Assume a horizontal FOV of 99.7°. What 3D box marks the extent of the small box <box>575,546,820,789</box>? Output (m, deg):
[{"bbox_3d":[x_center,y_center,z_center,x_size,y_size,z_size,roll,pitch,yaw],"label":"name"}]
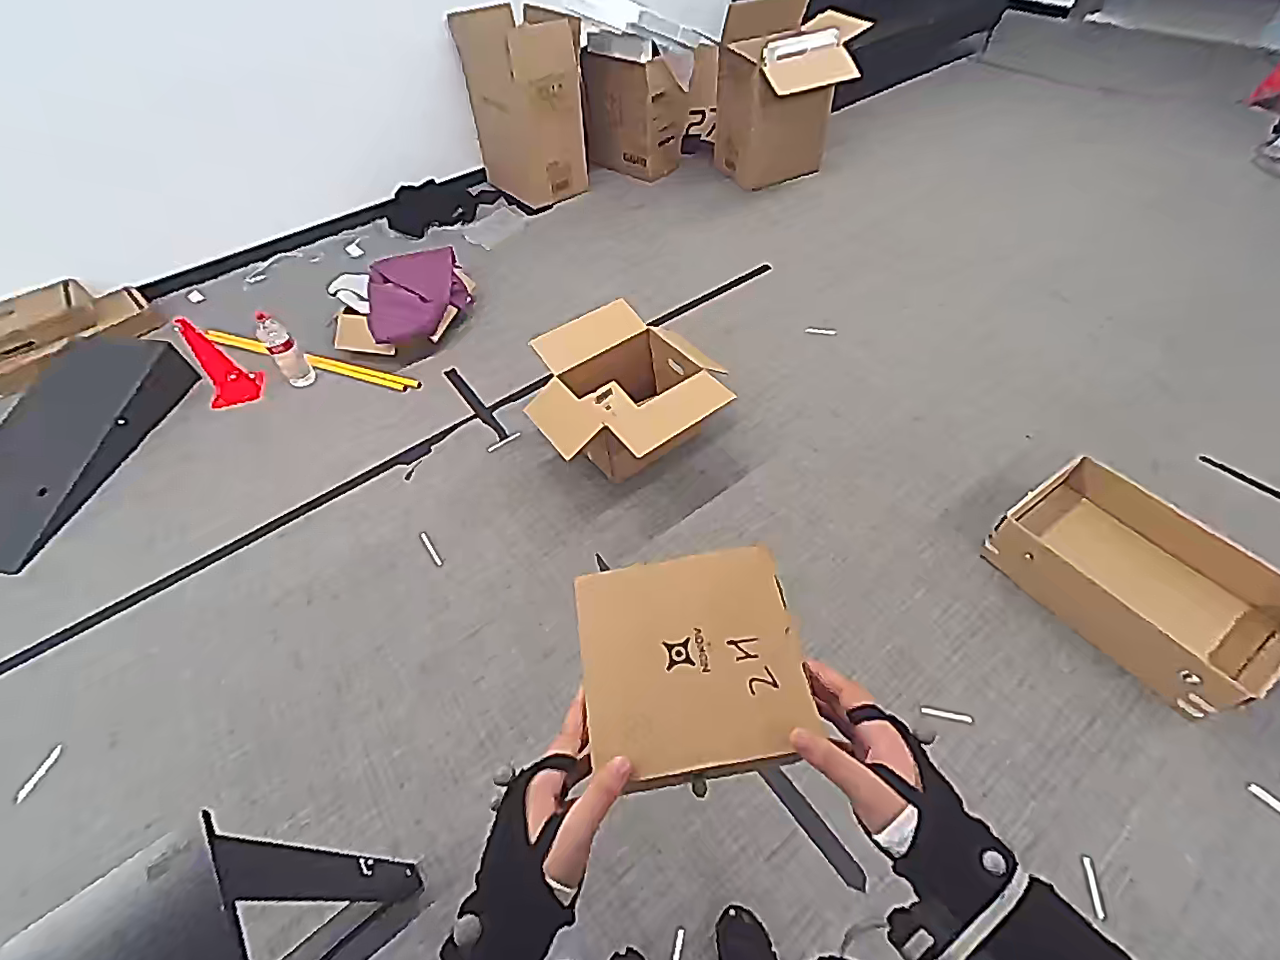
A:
[{"bbox_3d":[0.045,0.184,0.510,0.179,0.176,0.168,-10,59,-1],"label":"small box"}]
